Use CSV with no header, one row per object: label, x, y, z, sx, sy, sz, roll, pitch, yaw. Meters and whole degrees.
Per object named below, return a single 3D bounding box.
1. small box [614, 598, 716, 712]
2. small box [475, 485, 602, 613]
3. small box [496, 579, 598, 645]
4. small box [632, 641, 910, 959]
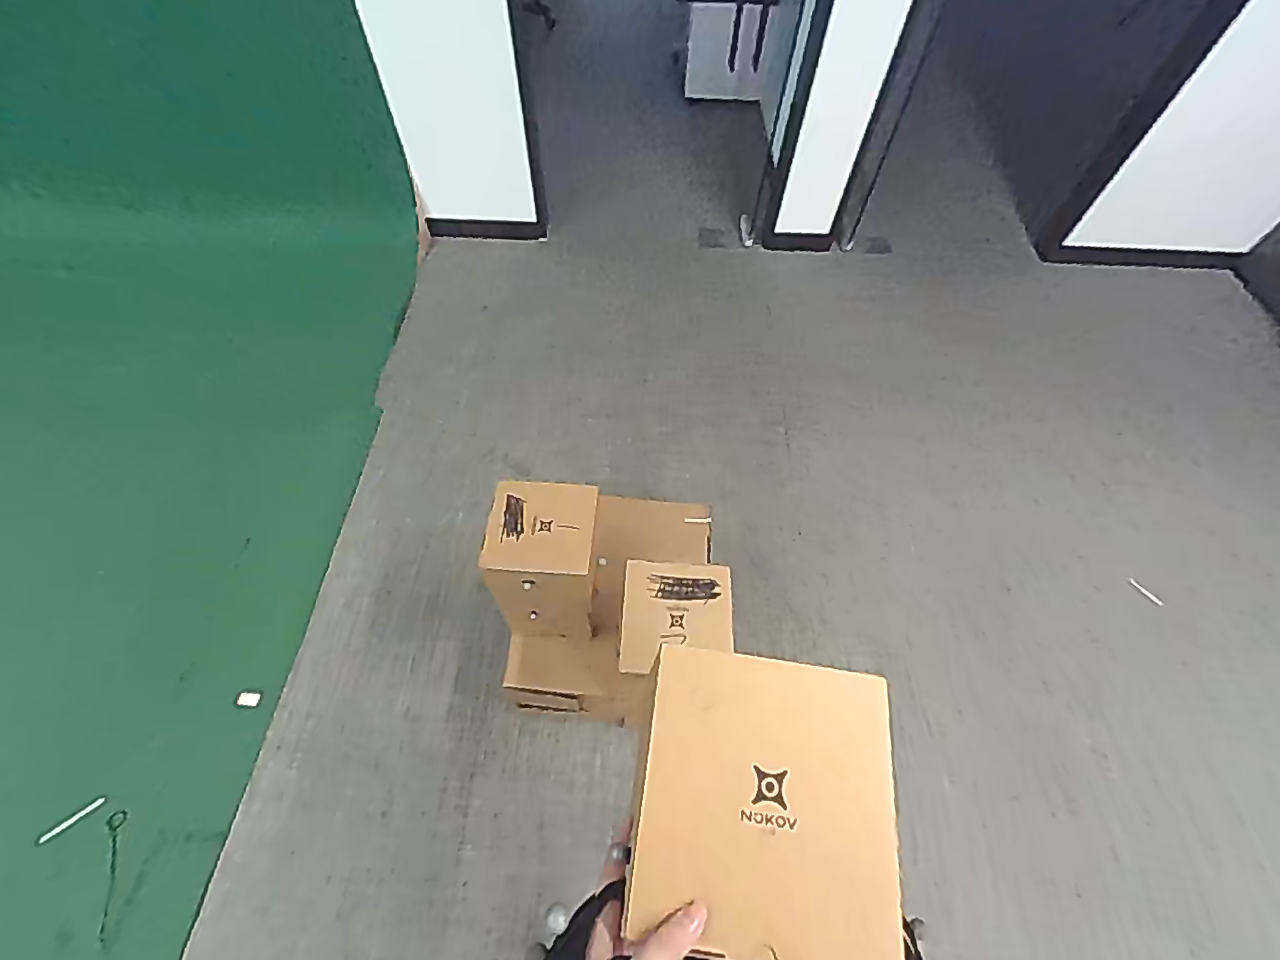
small box,0.044,0.333,1.010,0.179,0.176,0.168,3,56,-1
small box,-0.165,0.123,0.940,0.179,0.176,0.168,3,57,1
small box,-0.175,0.212,1.080,0.168,0.176,0.179,4,56,1
small box,0.085,0.240,0.427,0.168,0.176,0.179,7,64,1
